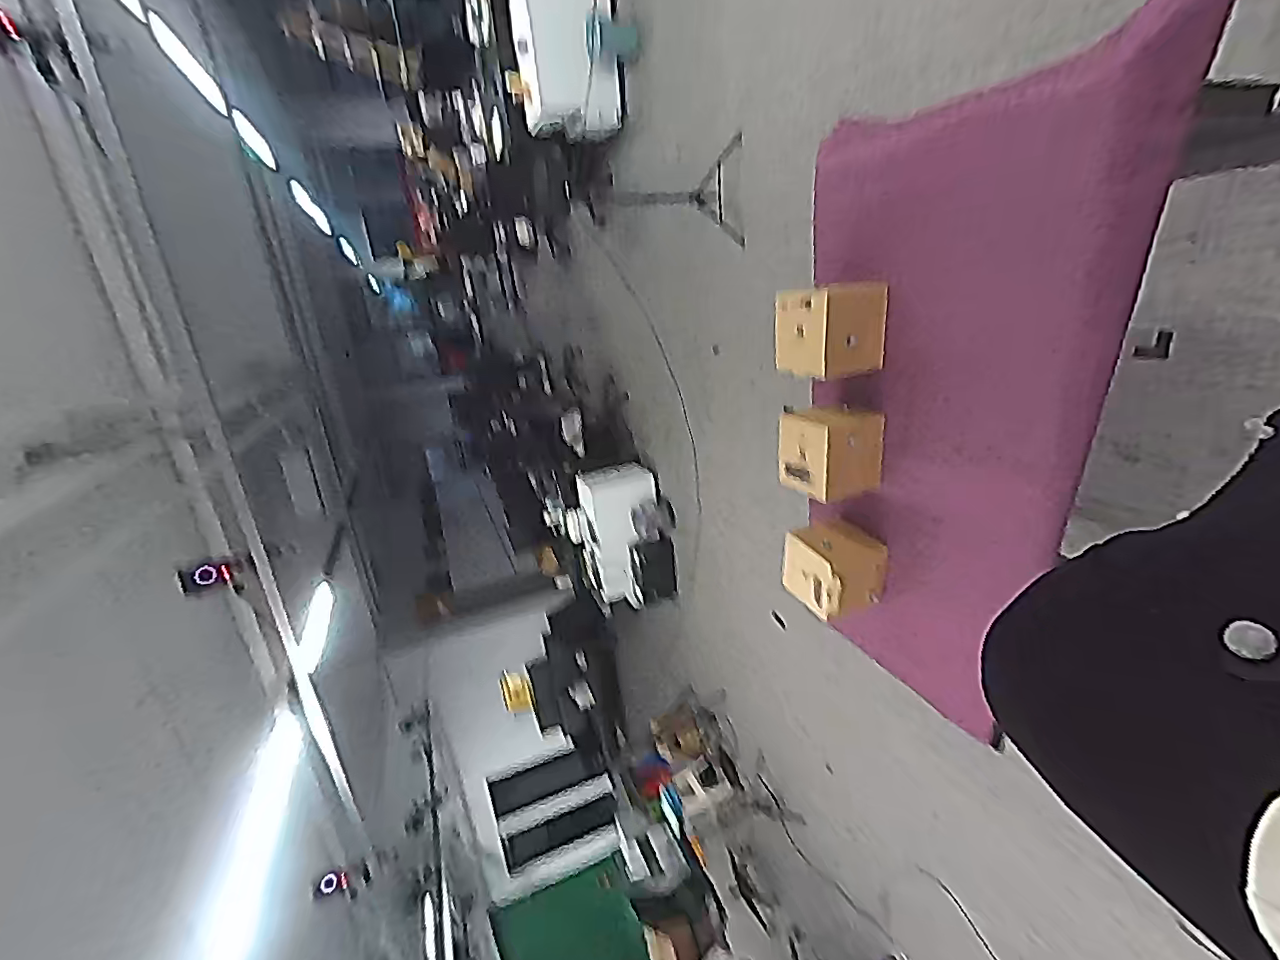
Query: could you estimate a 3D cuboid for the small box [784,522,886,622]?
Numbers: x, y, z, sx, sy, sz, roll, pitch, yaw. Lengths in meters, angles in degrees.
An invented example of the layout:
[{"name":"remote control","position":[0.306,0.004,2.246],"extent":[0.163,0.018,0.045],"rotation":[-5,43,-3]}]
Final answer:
[{"name":"small box","position":[0.488,0.222,1.364],"extent":[0.179,0.176,0.168],"rotation":[-137,39,-57]}]
